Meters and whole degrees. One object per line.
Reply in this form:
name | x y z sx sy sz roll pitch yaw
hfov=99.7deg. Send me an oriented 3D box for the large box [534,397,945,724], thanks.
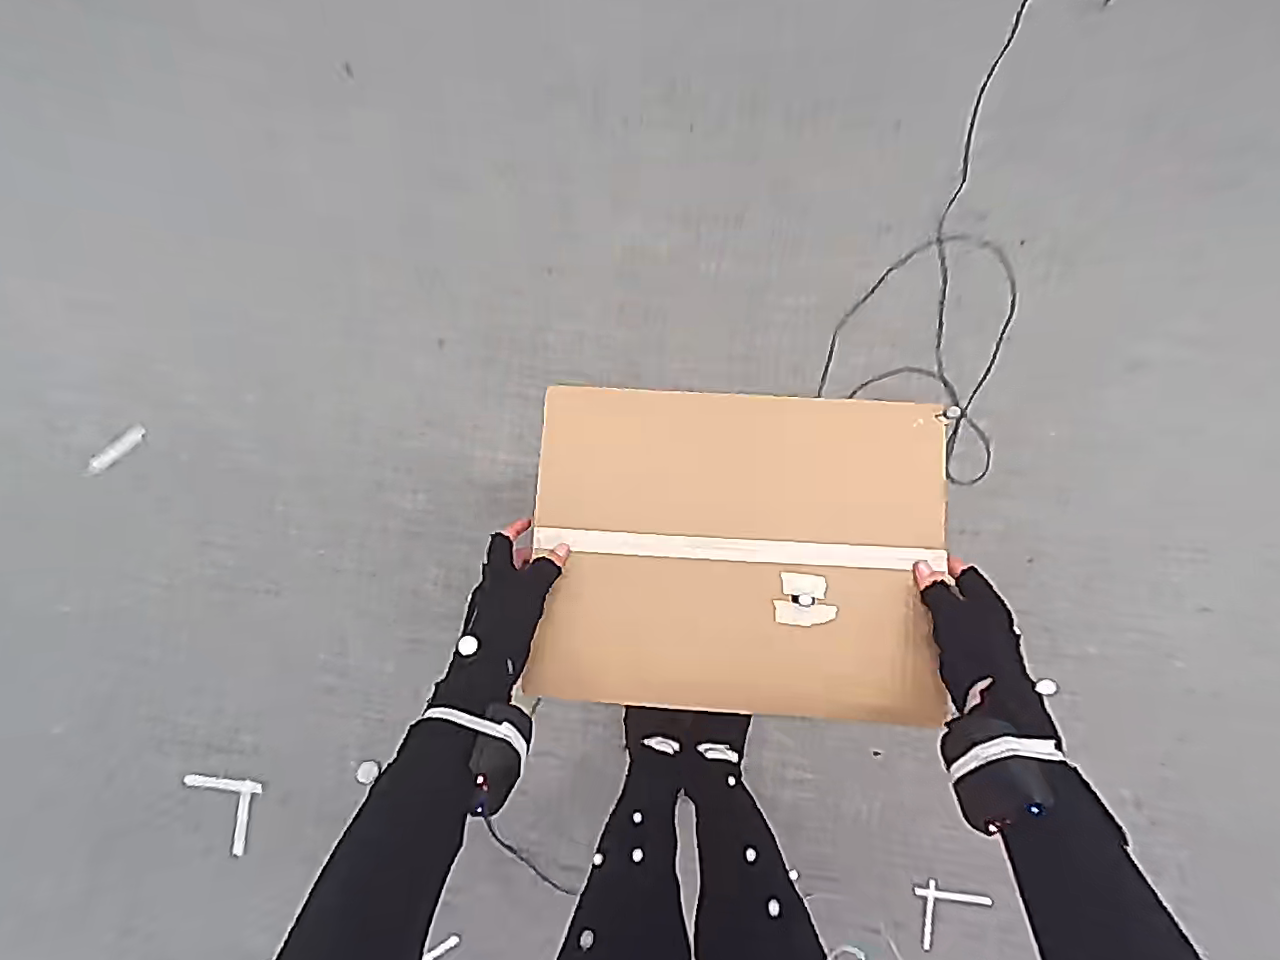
large box | 0.102 0.092 0.685 0.408 0.320 0.320 3 84 2
